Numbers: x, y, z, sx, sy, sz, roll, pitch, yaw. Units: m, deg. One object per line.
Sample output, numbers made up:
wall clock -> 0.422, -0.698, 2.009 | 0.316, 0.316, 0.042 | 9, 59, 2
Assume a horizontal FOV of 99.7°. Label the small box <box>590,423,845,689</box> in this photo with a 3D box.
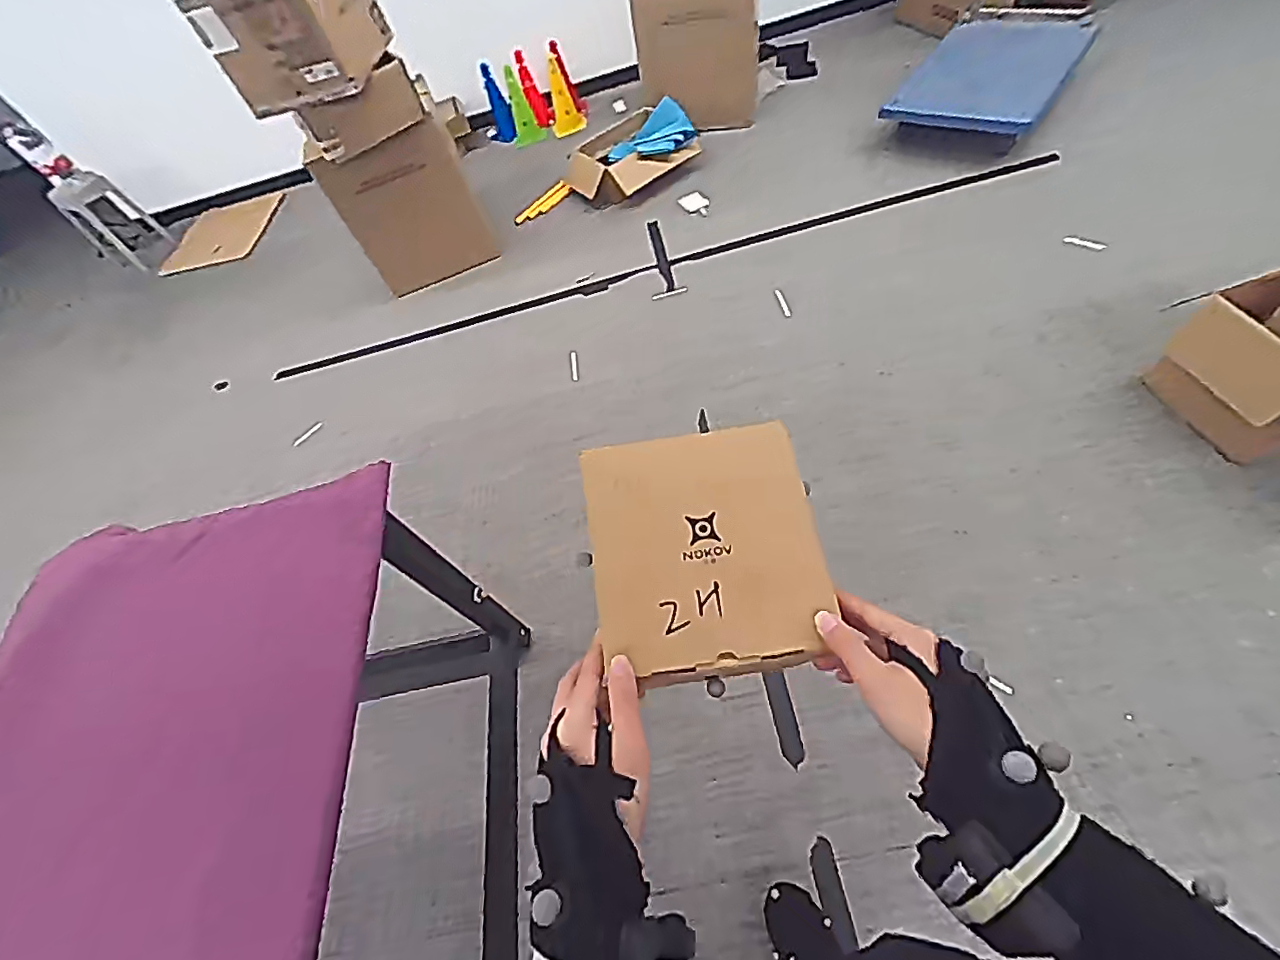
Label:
small box -> 0.052, 0.075, 0.471 | 0.168, 0.176, 0.179 | -8, 65, -1
